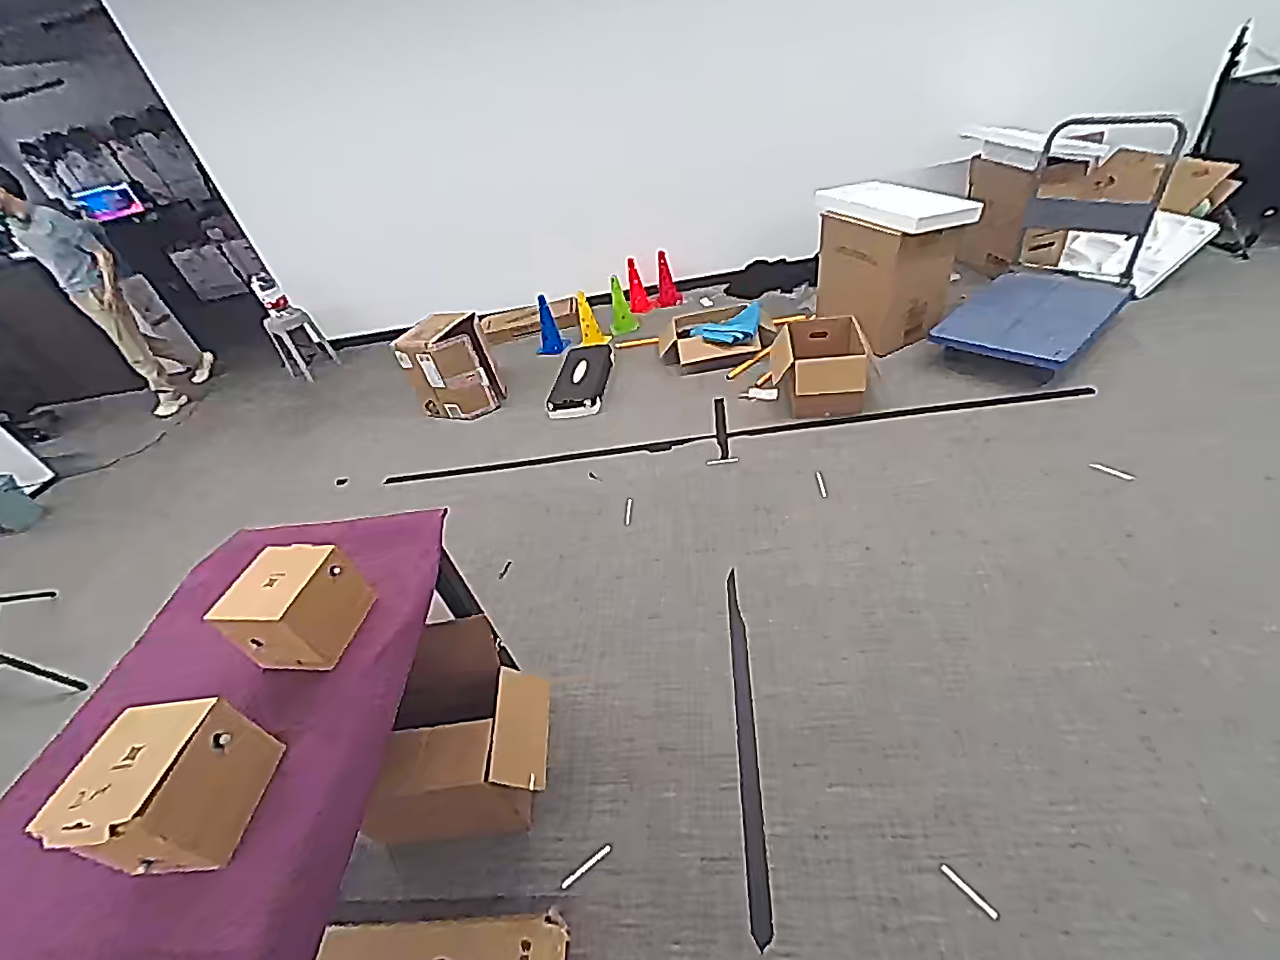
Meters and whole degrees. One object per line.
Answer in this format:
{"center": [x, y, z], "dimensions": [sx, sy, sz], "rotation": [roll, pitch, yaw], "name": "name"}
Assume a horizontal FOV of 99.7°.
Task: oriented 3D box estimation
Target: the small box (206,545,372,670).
{"center": [-0.657, 0.247, 1.040], "dimensions": [0.168, 0.176, 0.179], "rotation": [-3, 39, 13], "name": "small box"}

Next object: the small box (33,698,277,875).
{"center": [-0.686, 0.452, 0.798], "dimensions": [0.168, 0.176, 0.179], "rotation": [-10, 39, 9], "name": "small box"}
